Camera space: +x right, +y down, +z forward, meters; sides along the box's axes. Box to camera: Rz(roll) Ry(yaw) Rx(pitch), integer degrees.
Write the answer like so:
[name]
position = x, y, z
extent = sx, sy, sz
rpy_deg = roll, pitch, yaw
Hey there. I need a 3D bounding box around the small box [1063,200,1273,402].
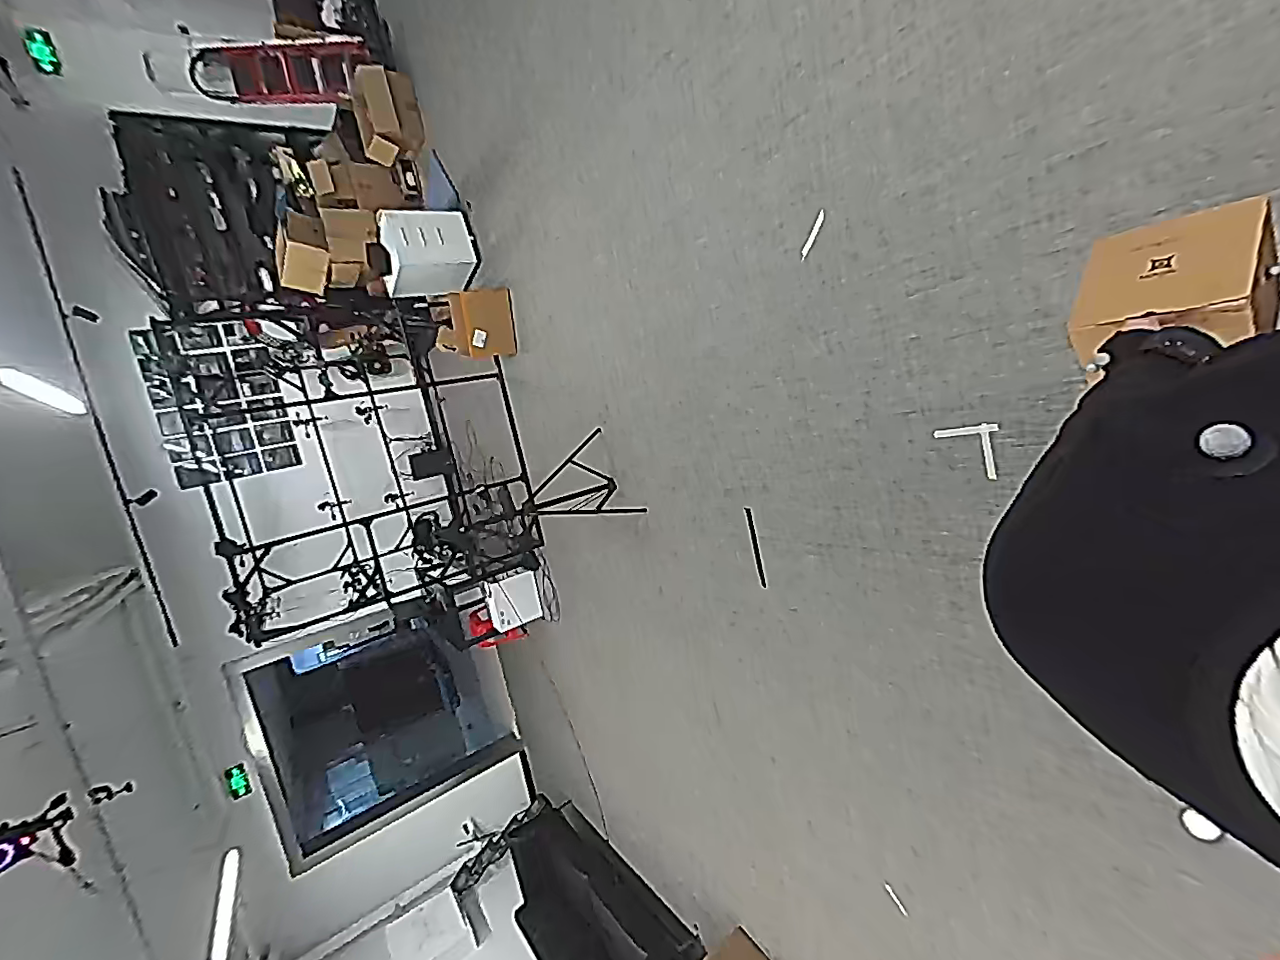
[small box]
position = 0.702, -0.218, 0.717
extent = 0.176, 0.179, 0.168
rpy_deg = 42, 159, -29
